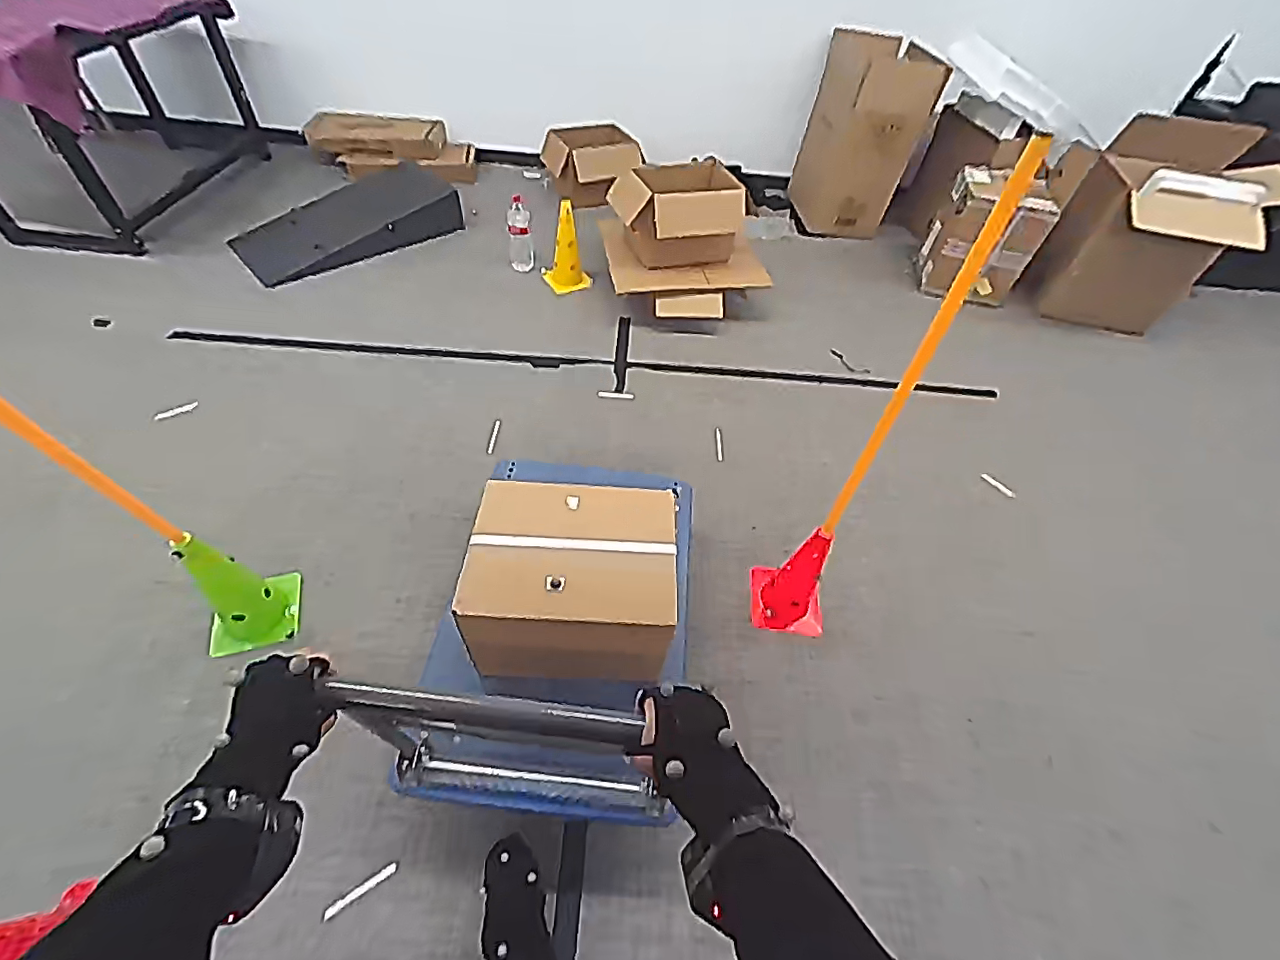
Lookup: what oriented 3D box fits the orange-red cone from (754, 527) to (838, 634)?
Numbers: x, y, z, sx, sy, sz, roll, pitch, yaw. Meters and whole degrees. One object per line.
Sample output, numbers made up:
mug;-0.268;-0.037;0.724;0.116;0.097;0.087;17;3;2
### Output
orange-red cone;0.447;0.236;1.439;0.199;0.360;0.198;10;51;1
